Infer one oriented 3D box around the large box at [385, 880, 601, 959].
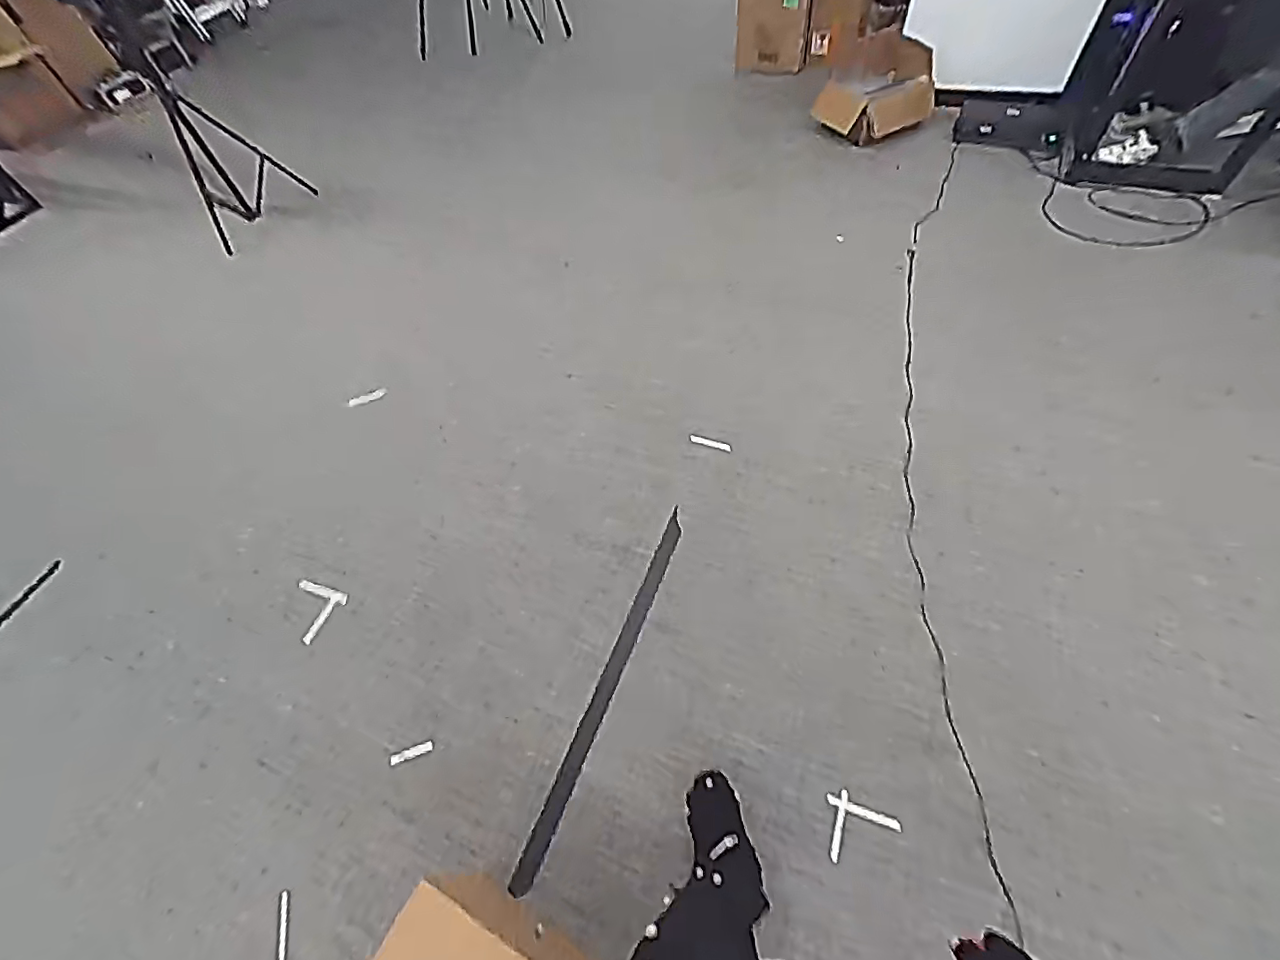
[{"bbox_3d":[-0.255,0.976,0.948,0.408,0.320,0.320,21,61,19],"label":"large box"}]
